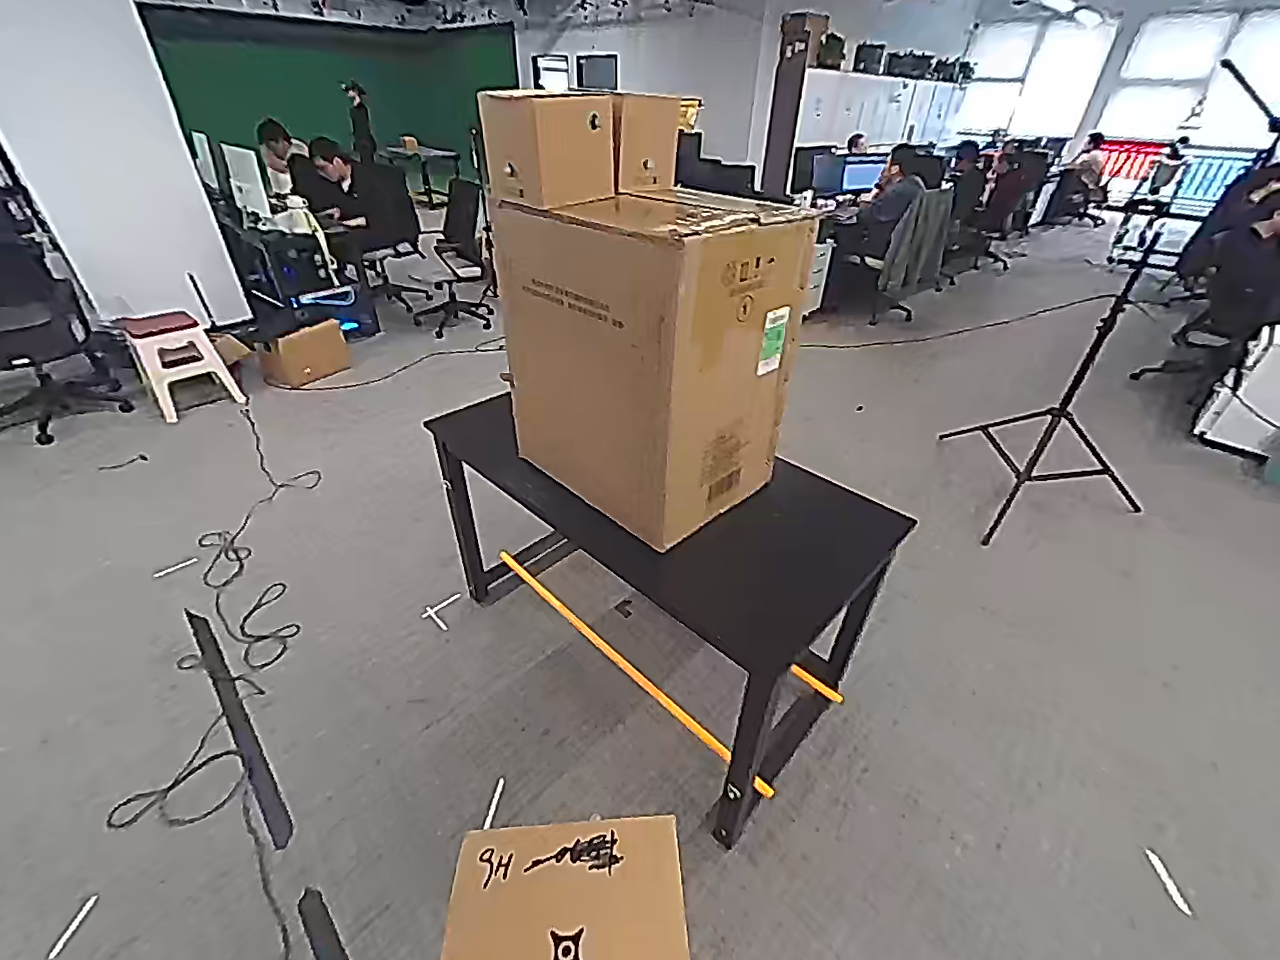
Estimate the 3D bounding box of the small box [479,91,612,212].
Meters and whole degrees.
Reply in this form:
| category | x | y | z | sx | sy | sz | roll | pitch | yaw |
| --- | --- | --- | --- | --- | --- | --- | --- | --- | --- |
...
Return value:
| category | x | y | z | sx | sy | sz | roll | pitch | yaw |
| --- | --- | --- | --- | --- | --- | --- | --- | --- | --- |
| small box | -0.167 | -0.610 | 0.998 | 0.168 | 0.176 | 0.179 | 31 | 47 | 34 |

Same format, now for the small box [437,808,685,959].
| category | x | y | z | sx | sy | sz | roll | pitch | yaw |
| --- | --- | --- | --- | --- | --- | --- | --- | --- | --- |
| small box | -0.048 | 0.377 | 0.400 | 0.168 | 0.176 | 0.179 | -4 | 37 | -2 |

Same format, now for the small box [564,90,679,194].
| category | x | y | z | sx | sy | sz | roll | pitch | yaw |
| --- | --- | --- | --- | --- | --- | --- | --- | --- | --- |
| small box | -0.043 | -0.700 | 1.124 | 0.168 | 0.176 | 0.179 | -28 | 46 | -37 |
